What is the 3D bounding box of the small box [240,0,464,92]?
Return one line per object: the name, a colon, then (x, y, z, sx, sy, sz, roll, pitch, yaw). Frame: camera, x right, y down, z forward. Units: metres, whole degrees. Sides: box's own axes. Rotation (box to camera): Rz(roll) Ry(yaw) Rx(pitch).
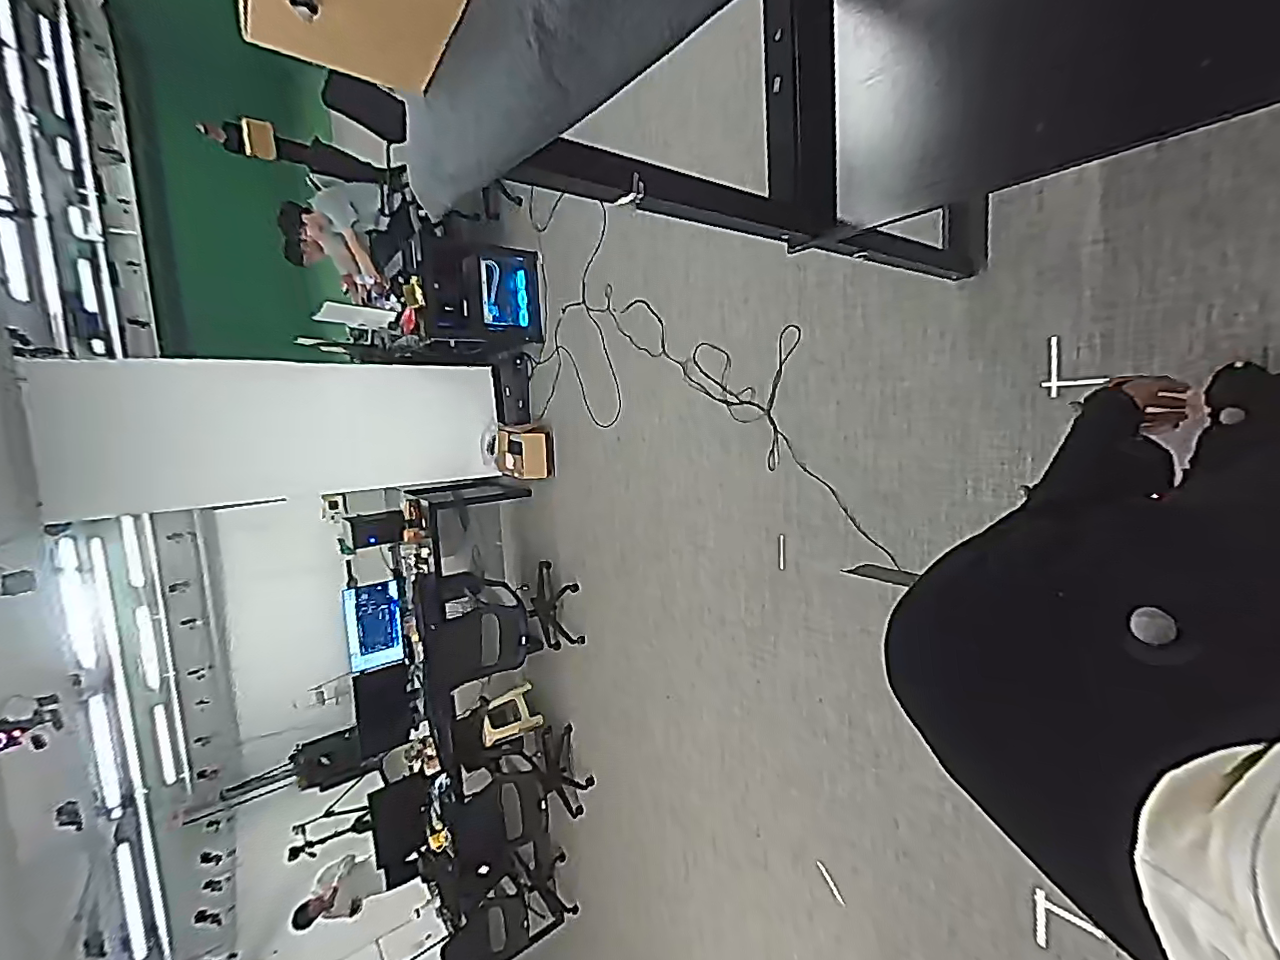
small box: (-0.271, -0.509, 0.501, 0.179, 0.176, 0.168, 0, 96, 53)
